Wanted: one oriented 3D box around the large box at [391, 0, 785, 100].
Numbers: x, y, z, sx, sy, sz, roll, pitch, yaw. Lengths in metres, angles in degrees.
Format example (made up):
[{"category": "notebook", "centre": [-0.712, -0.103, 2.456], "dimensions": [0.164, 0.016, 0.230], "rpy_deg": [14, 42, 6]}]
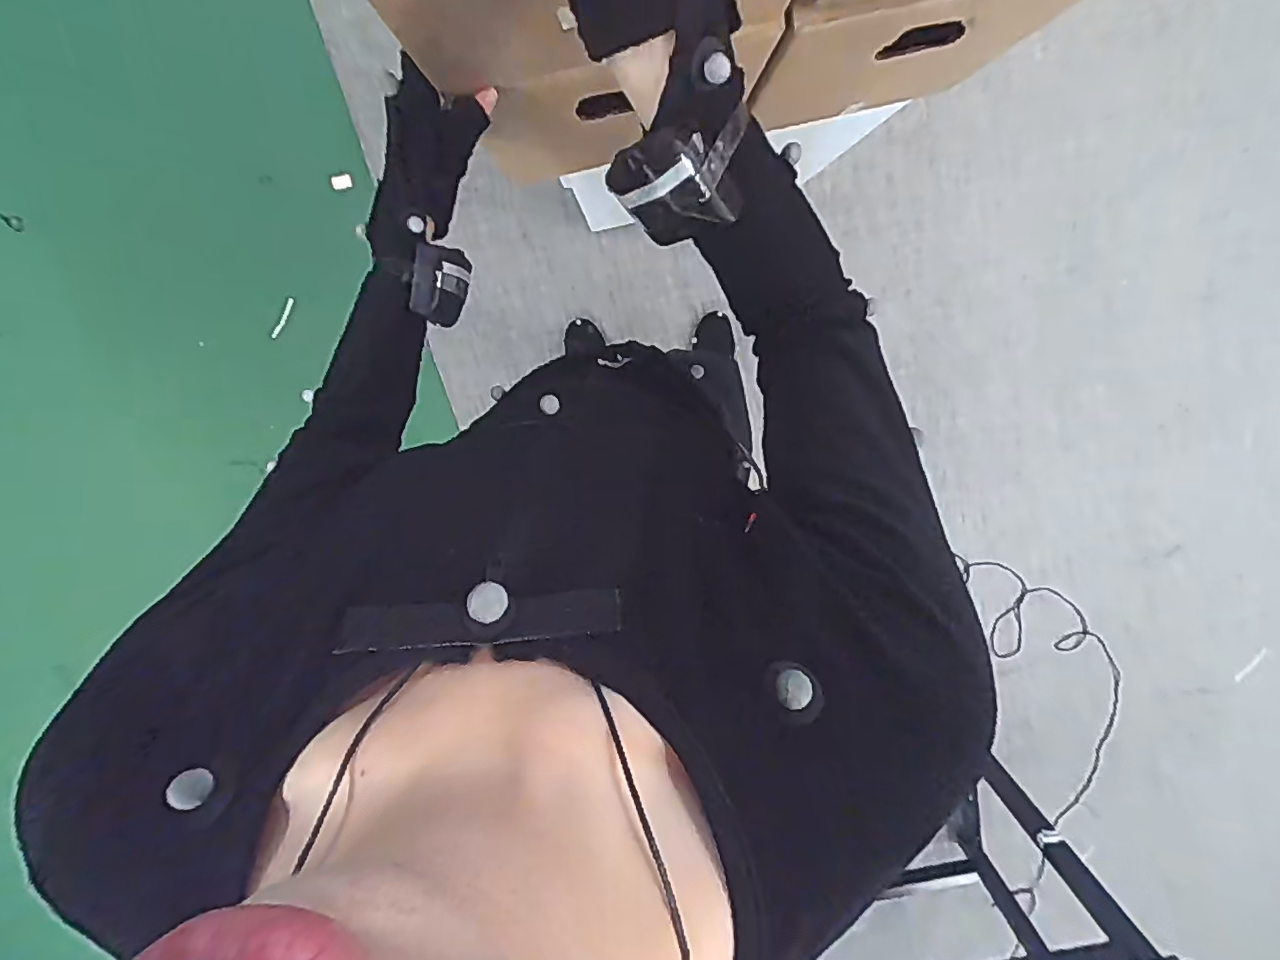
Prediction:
[{"category": "large box", "centre": [-0.063, -0.513, 0.276], "dimensions": [0.320, 0.320, 0.408], "rpy_deg": [-14, 105, 1]}]
